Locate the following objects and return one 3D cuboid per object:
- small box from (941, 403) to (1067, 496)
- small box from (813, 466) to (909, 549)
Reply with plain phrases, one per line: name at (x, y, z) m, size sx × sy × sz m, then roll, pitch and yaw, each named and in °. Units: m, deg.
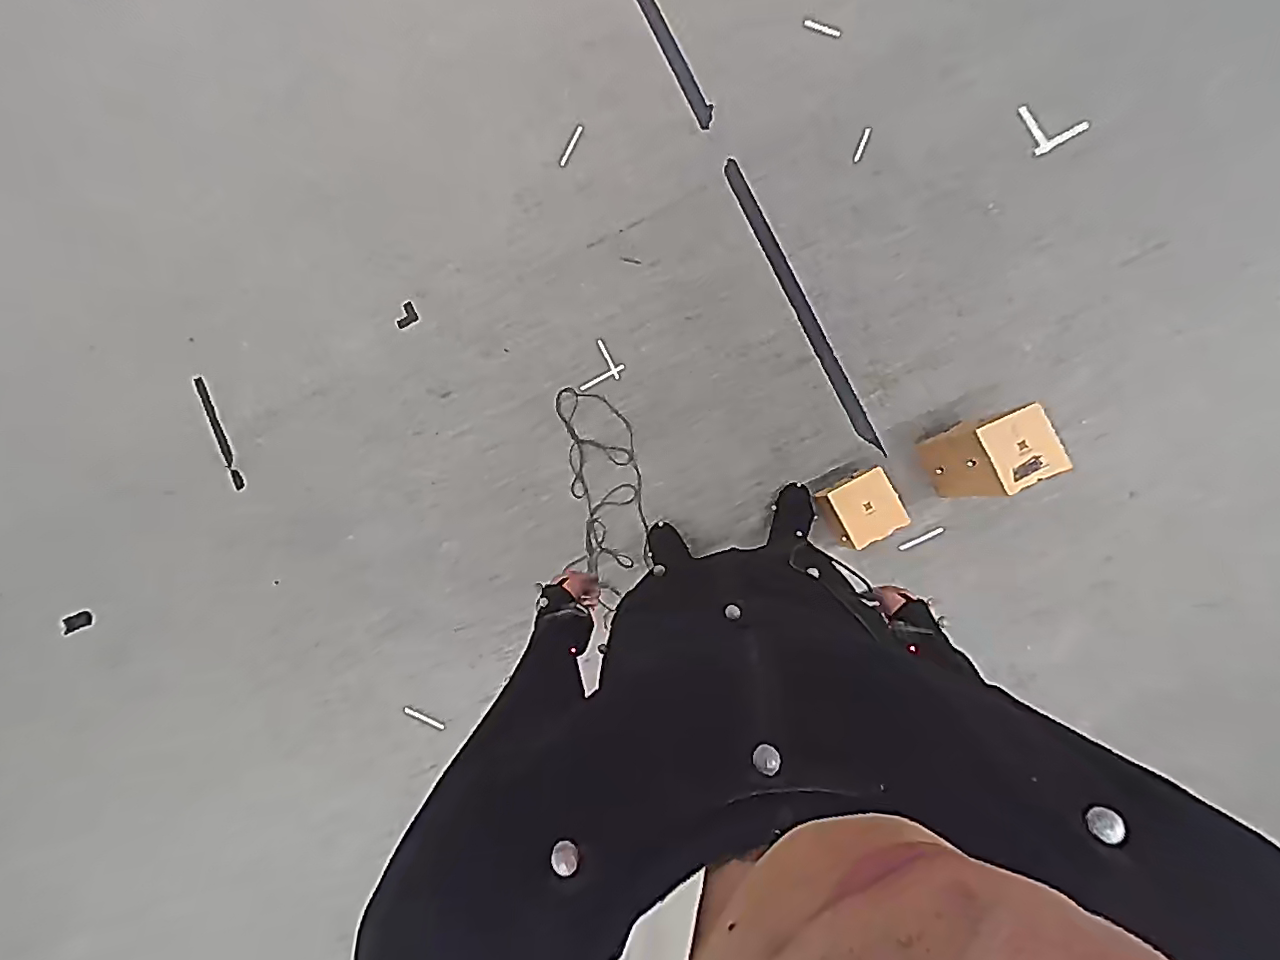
small box at (0.906, -0.070, 1.361) m, size 0.168 × 0.176 × 0.179 m, roll -25°, pitch 85°, yaw 2°
small box at (0.618, 0.079, 1.539) m, size 0.168 × 0.176 × 0.179 m, roll -29°, pitch 86°, yaw 2°
